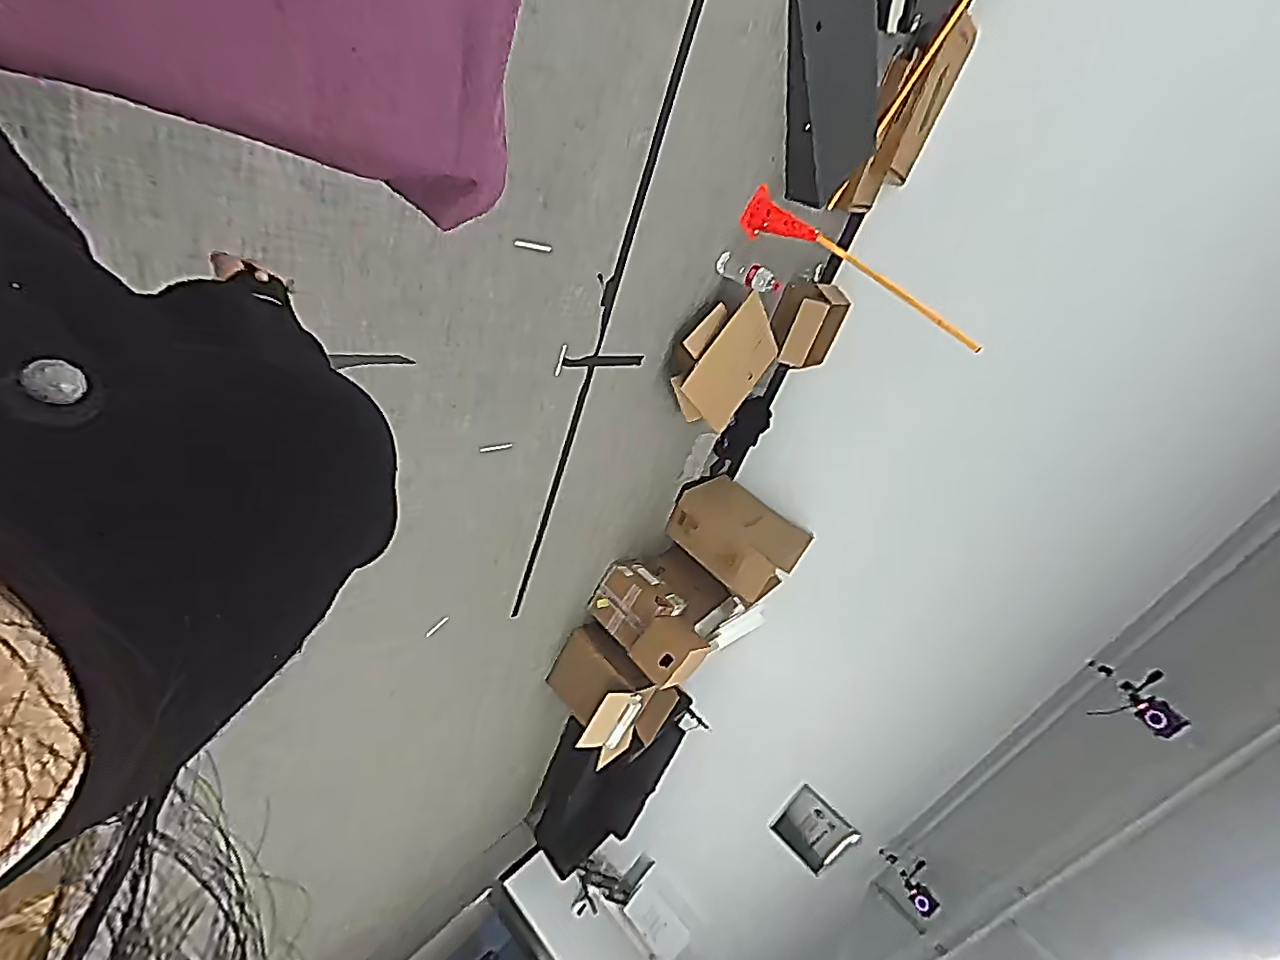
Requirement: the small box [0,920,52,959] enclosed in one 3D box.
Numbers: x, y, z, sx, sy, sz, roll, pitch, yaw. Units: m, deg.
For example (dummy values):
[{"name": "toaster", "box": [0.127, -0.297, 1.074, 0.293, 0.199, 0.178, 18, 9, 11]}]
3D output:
[{"name": "small box", "box": [-1.665, 1.309, 1.406, 0.179, 0.176, 0.168, -17, 135, -48]}]
